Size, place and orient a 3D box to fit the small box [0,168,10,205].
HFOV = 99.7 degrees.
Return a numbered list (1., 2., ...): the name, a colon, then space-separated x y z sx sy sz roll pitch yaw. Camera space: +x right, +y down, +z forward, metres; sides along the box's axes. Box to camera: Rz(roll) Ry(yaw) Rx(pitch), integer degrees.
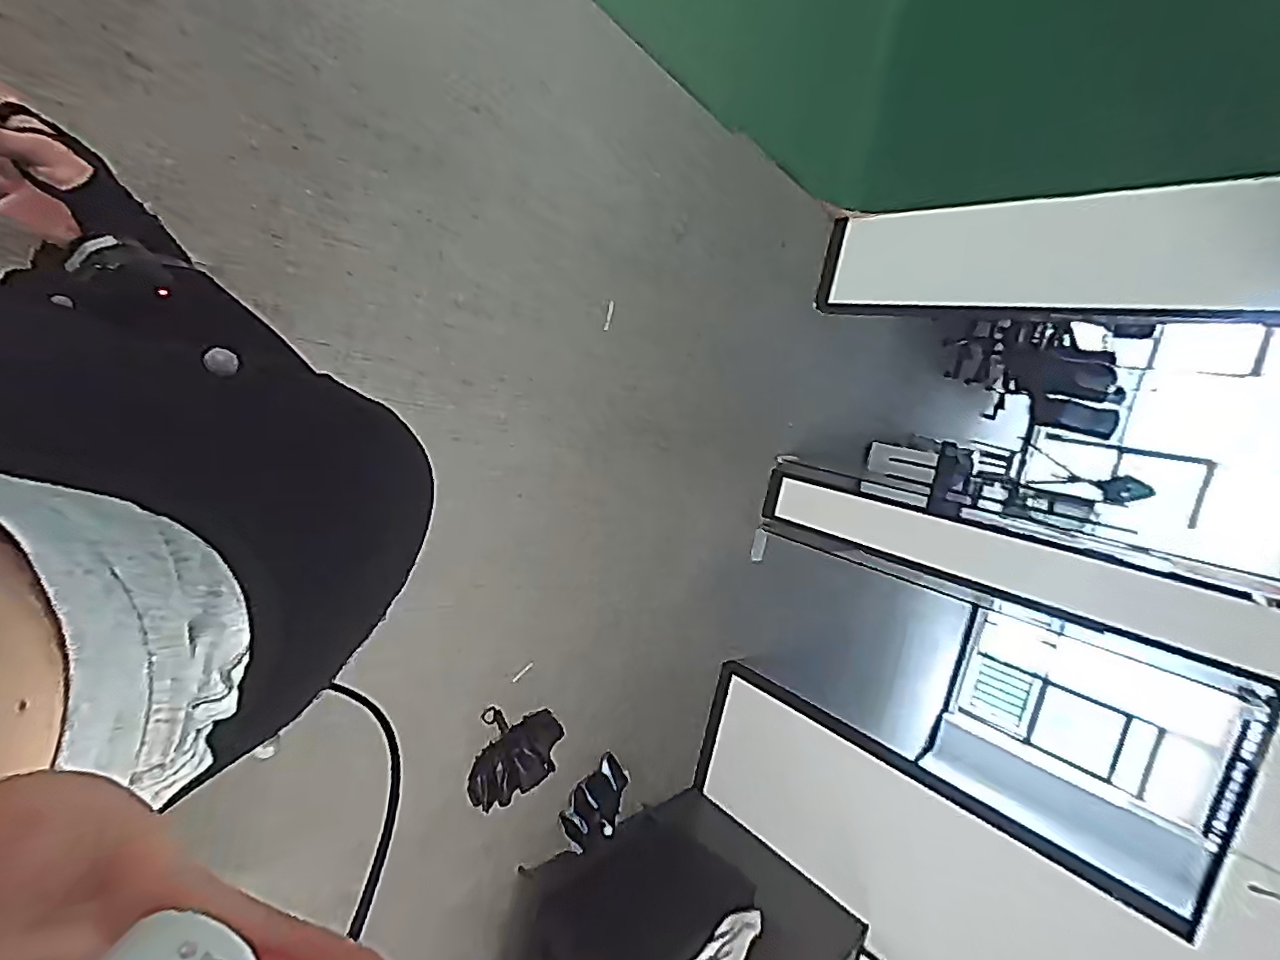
1. small box: -0.549 -0.277 0.326 0.168 0.176 0.179 -26 113 -37
